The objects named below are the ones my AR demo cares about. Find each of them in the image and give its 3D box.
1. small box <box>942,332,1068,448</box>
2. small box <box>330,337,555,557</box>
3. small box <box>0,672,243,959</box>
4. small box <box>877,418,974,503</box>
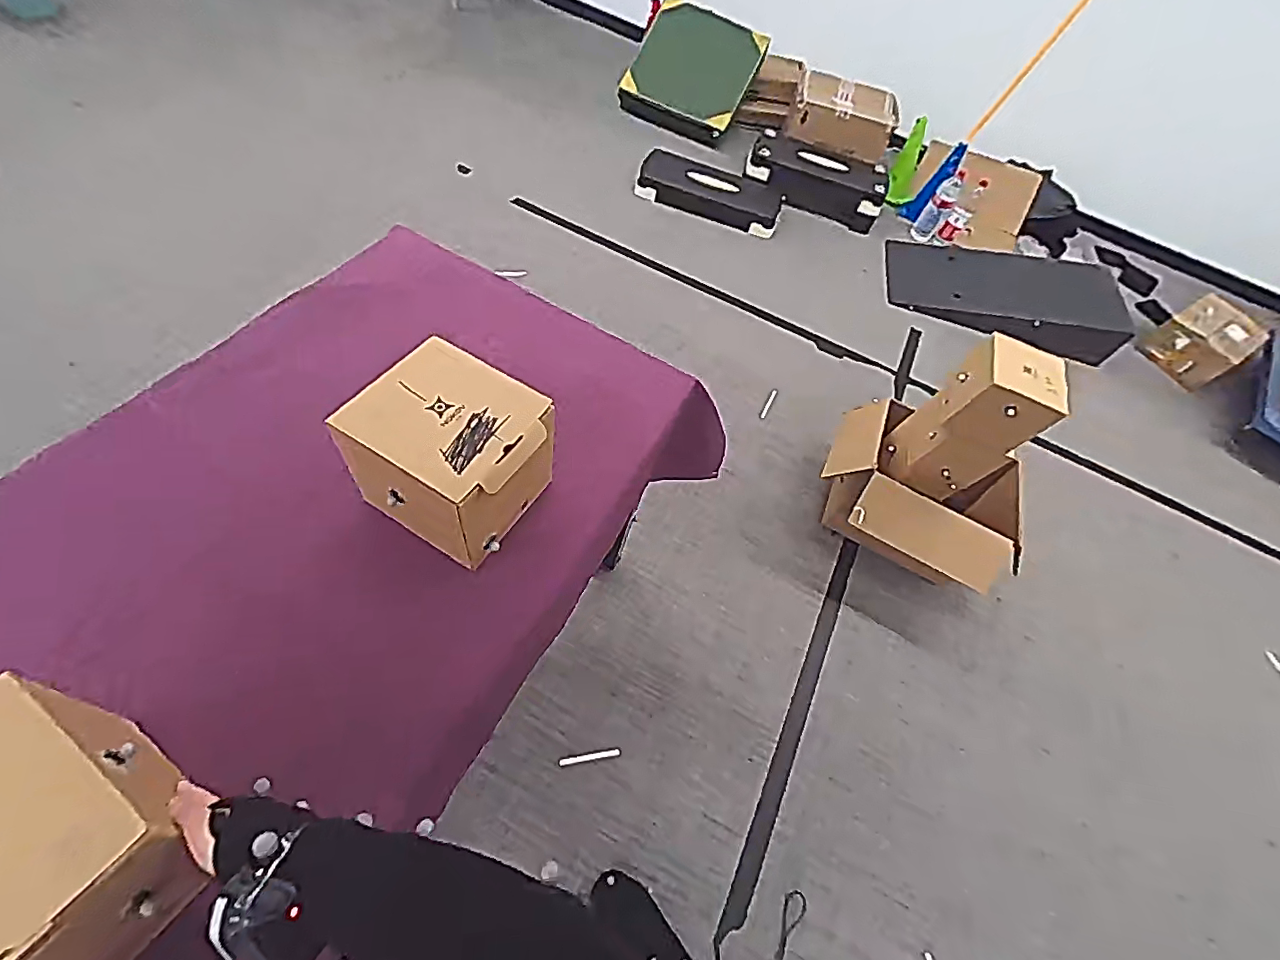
[{"bbox_3d":[0.826,-0.198,1.236,0.179,0.176,0.168,24,61,-1],"label":"small box"},{"bbox_3d":[-0.221,-0.030,0.653,0.179,0.176,0.168,30,57,9],"label":"small box"},{"bbox_3d":[-0.451,0.282,0.402,0.179,0.176,0.168,34,54,12],"label":"small box"},{"bbox_3d":[0.794,-0.049,1.530,0.179,0.176,0.168,12,60,-8],"label":"small box"}]
